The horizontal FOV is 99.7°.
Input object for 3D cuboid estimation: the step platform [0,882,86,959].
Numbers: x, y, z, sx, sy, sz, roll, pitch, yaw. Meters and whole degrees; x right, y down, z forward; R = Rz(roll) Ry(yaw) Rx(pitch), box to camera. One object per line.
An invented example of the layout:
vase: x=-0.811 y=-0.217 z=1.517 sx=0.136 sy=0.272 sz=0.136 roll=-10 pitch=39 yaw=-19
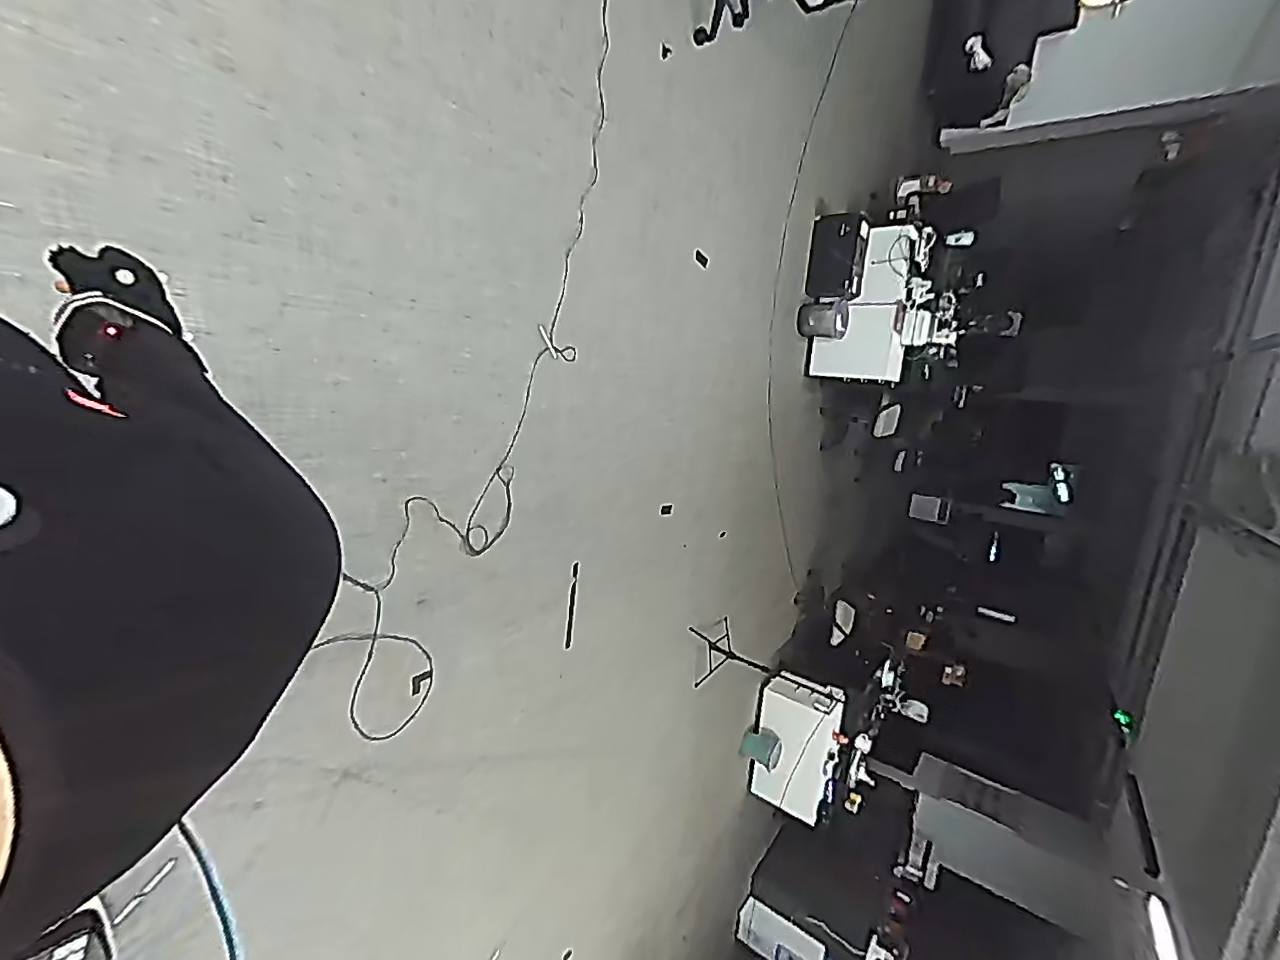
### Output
step platform: x=-1.382 y=1.030 z=0.874 sx=0.684 sy=0.204 sz=0.286 roll=-10 pitch=109 yaw=-52
